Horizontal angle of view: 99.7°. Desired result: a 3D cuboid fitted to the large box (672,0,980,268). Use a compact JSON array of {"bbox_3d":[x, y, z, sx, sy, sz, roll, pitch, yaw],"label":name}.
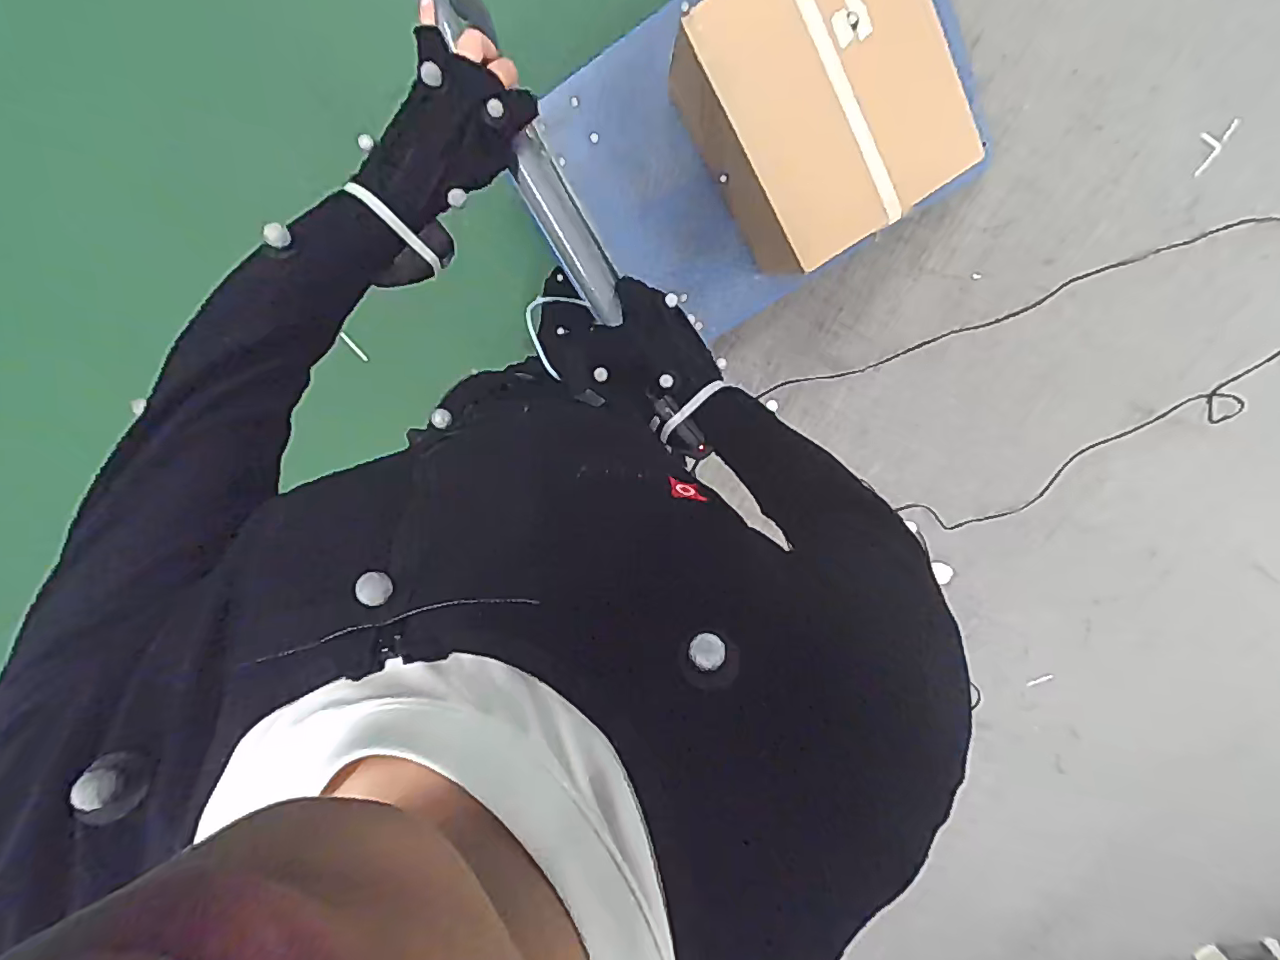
[{"bbox_3d":[0.293,-0.635,0.942,0.320,0.320,0.408,-31,108,10],"label":"large box"}]
